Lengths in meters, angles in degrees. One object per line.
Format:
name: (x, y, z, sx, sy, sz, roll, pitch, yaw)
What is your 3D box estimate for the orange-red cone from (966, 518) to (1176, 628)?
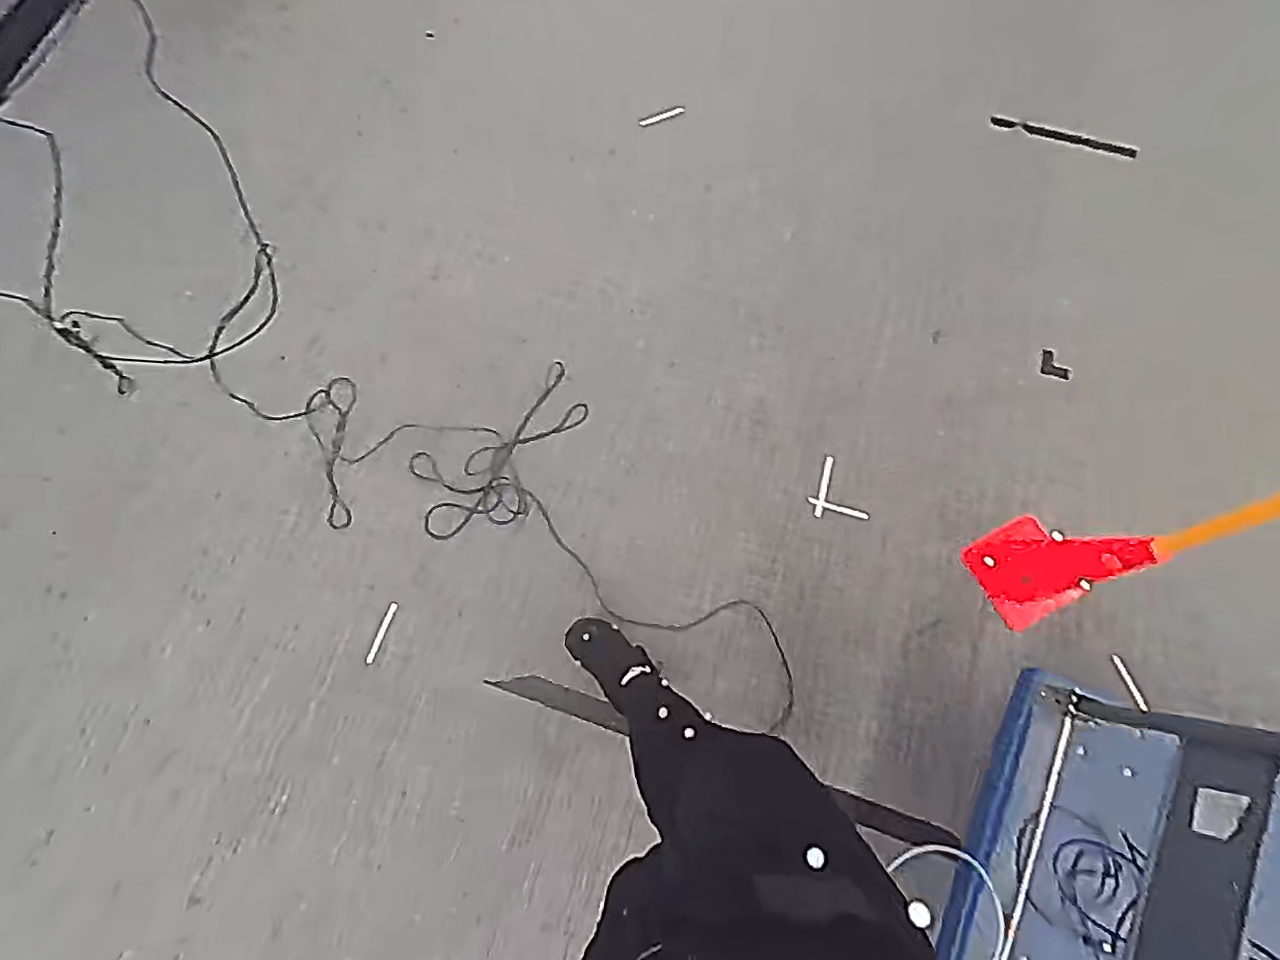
orange-red cone: (0.845, 0.160, 1.032, 0.198, 0.360, 0.199, -26, 76, -4)
